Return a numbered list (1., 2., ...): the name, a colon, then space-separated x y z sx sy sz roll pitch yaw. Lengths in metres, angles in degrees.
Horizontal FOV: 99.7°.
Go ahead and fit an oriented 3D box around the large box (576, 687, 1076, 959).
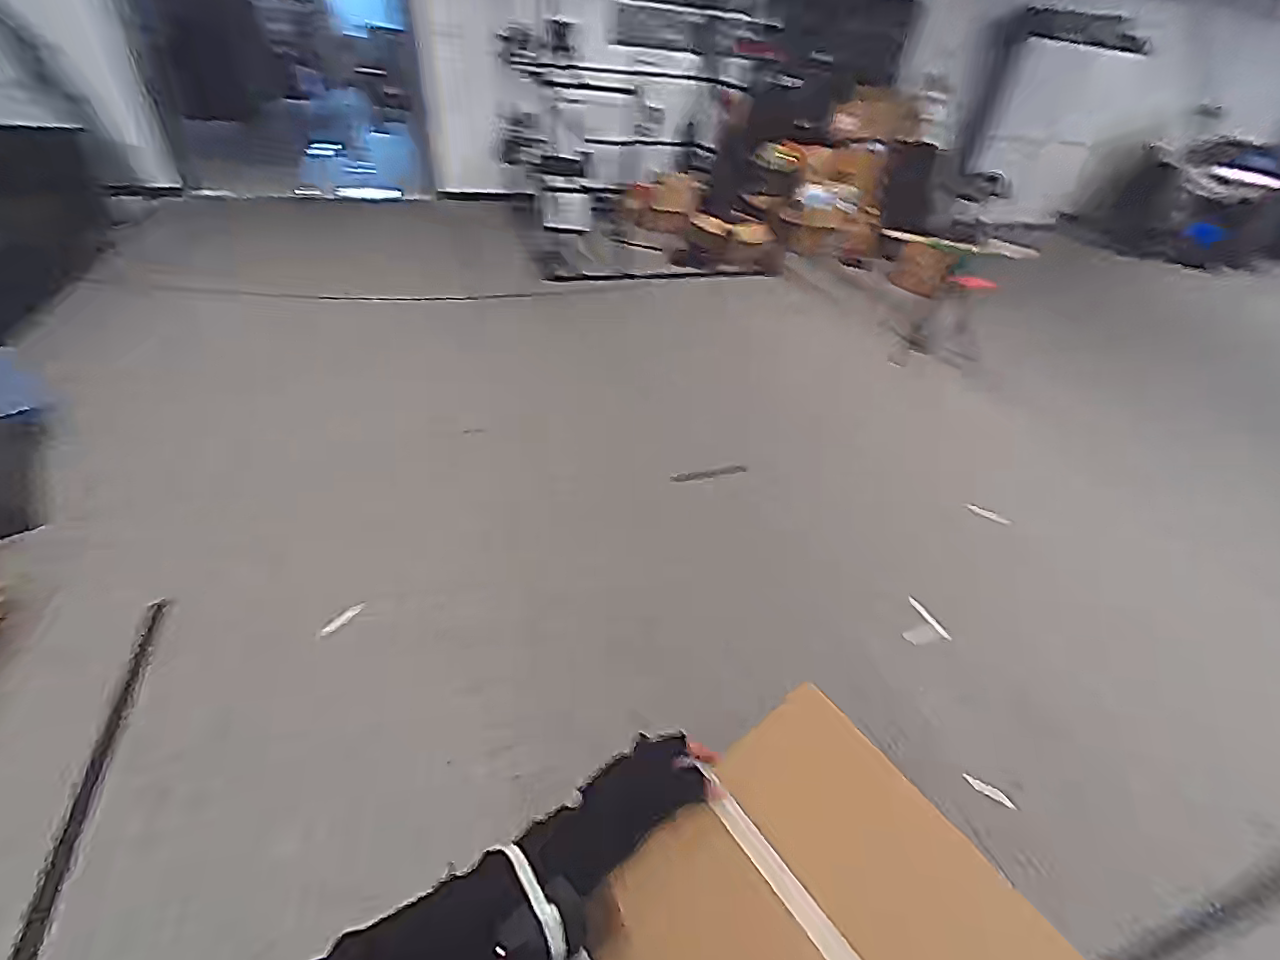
1. large box: 0.175 0.506 0.542 0.320 0.320 0.408 -30 57 -25
